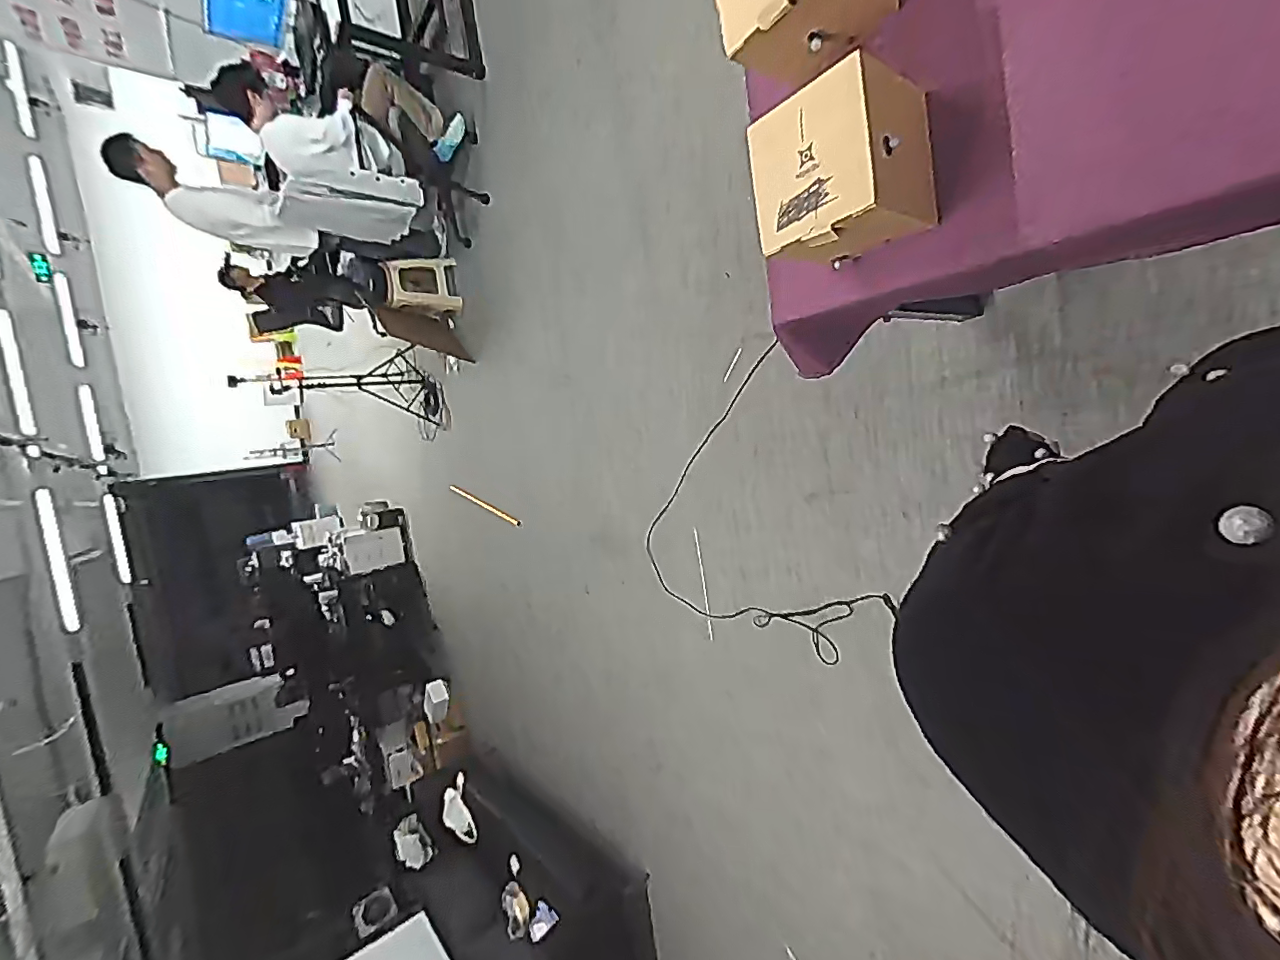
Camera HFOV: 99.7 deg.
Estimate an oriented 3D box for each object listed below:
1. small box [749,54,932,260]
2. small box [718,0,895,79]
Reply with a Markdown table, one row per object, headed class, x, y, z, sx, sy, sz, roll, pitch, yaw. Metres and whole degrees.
| class | x | y | z | sx | sy | sz | roll | pitch | yaw |
| --- | --- | --- | --- | --- | --- | --- | --- | --- | --- |
| small box | 0.273 | -0.412 | 0.732 | 0.168 | 0.176 | 0.179 | -4 | 95 | 51 |
| small box | 0.219 | -0.686 | 0.731 | 0.168 | 0.176 | 0.179 | -9 | 93 | 52 |
